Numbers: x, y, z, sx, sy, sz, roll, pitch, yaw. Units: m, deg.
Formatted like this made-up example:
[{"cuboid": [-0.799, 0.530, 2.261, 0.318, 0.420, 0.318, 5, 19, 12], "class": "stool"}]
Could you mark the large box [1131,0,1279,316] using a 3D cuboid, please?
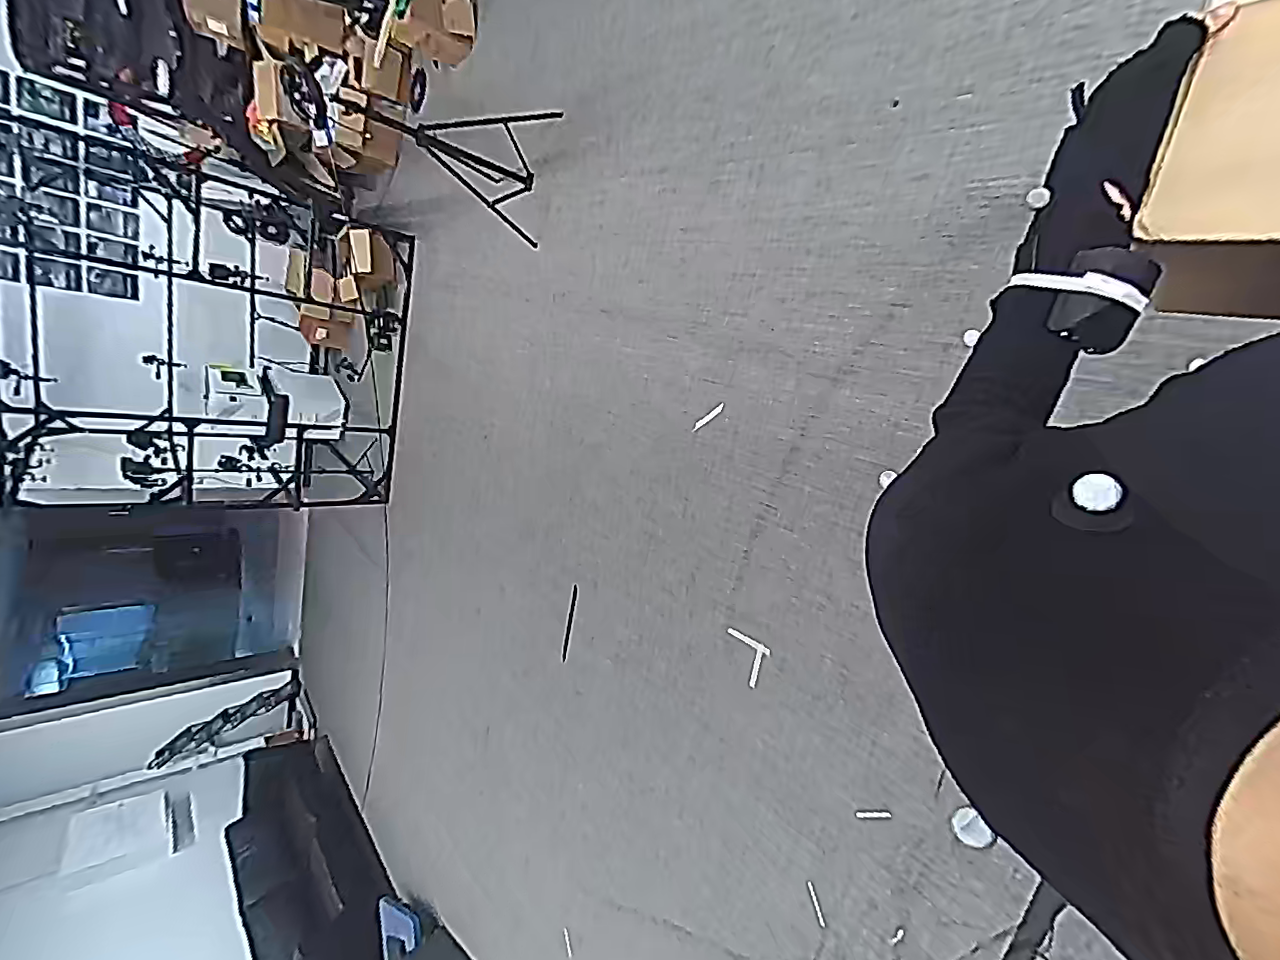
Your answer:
[{"cuboid": [0.637, -0.283, 0.353, 0.408, 0.320, 0.320, 23, 109, 42], "class": "large box"}]
